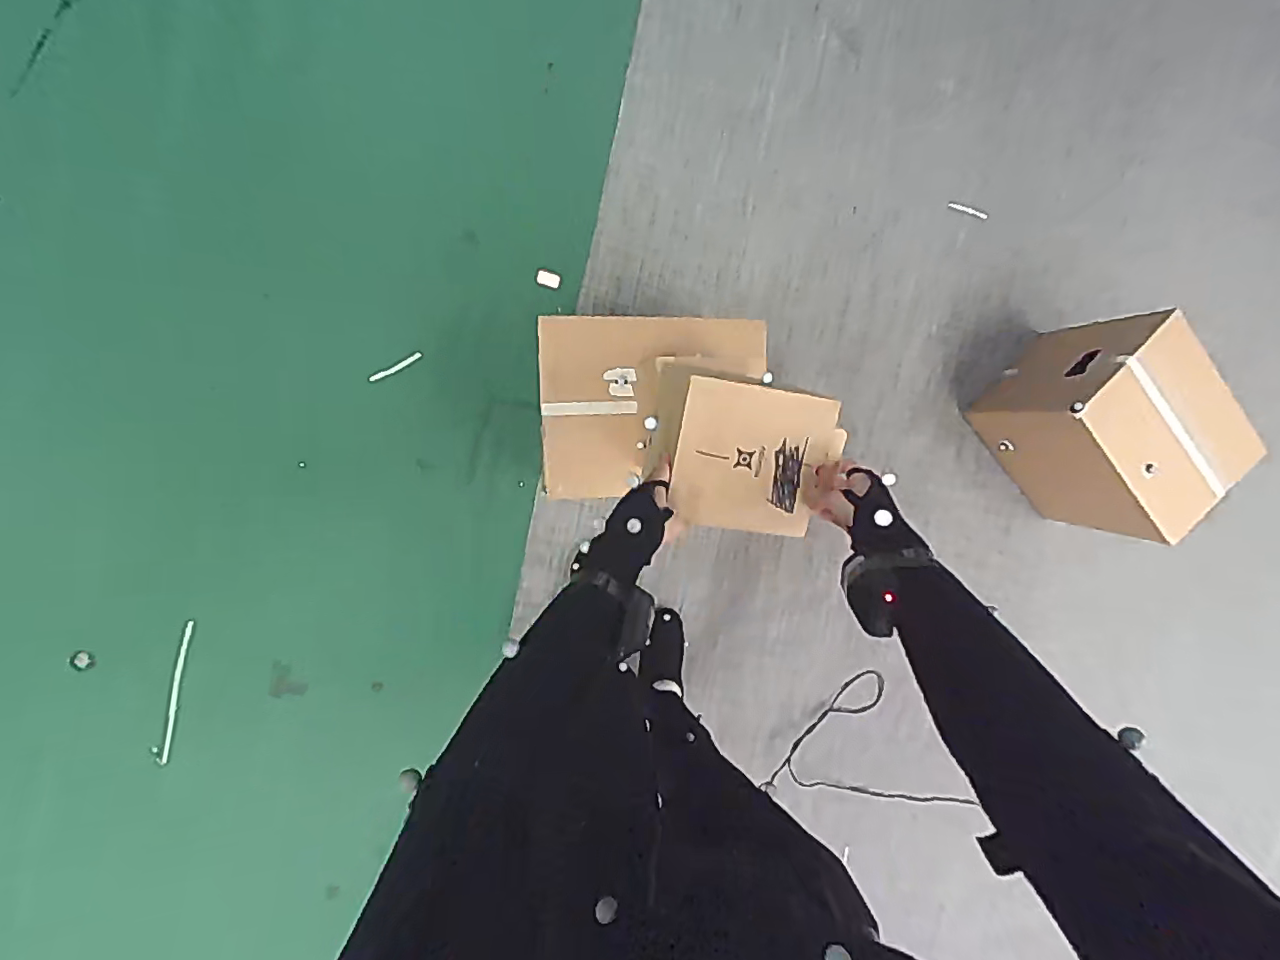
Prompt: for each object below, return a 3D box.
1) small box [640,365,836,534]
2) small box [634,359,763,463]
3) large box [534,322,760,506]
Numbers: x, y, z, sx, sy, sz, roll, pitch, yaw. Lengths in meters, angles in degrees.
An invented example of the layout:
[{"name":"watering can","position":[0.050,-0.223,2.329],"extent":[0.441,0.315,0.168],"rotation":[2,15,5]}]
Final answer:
[{"name":"small box","position":[0.107,-0.046,0.673],"extent":[0.179,0.176,0.168],"rotation":[8,105,-10]},{"name":"small box","position":[0.086,-0.097,0.864],"extent":[0.168,0.176,0.179],"rotation":[-2,96,-10]},{"name":"large box","position":[0.002,-0.132,1.097],"extent":[0.408,0.320,0.320],"rotation":[-2,95,-8]}]
